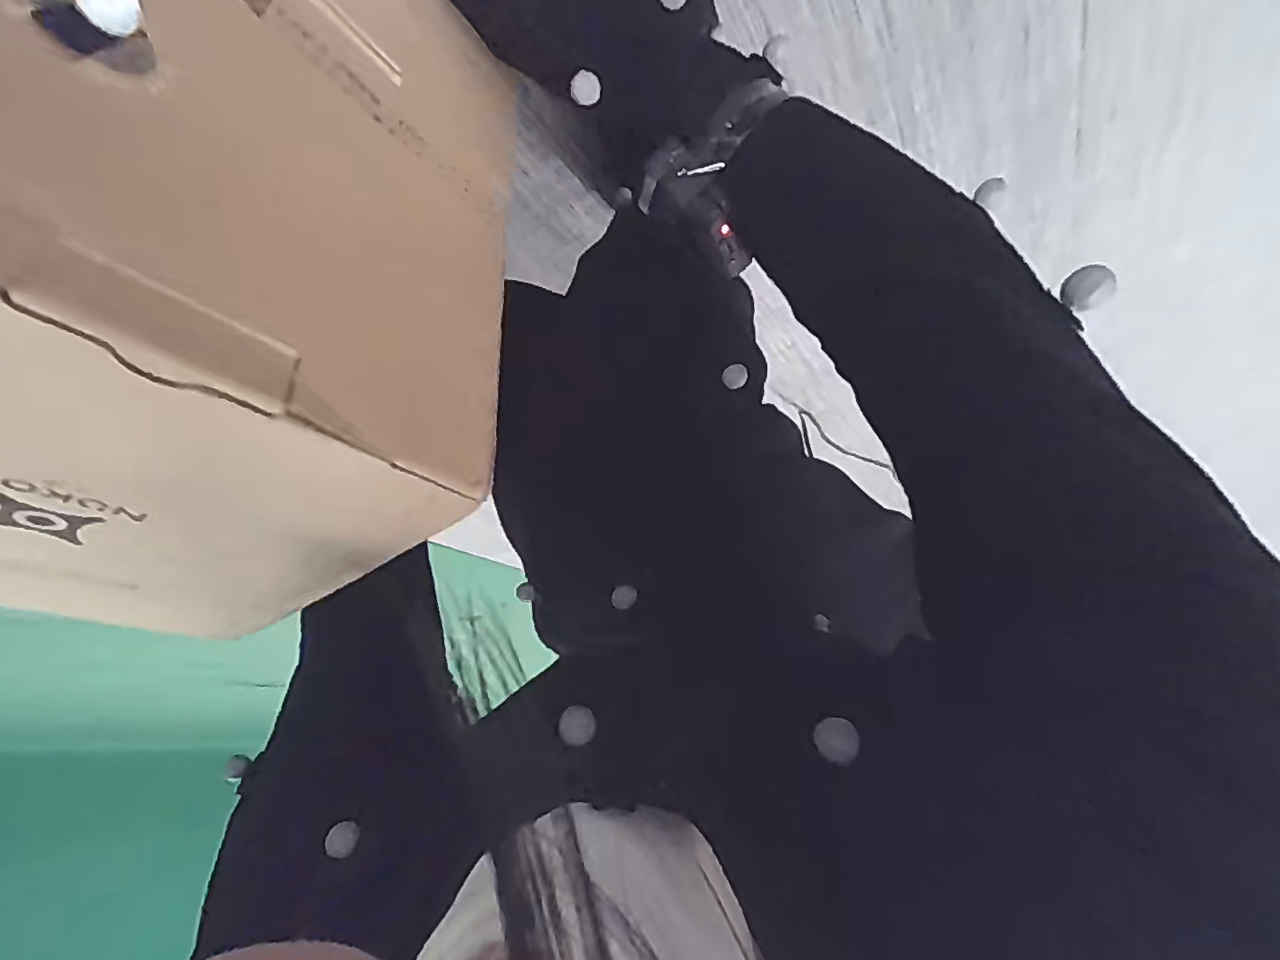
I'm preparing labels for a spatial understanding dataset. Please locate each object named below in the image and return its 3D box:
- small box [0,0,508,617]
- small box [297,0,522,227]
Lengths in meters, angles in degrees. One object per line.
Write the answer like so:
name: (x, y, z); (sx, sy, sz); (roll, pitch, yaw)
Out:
small box: (-0.167, -0.065, 0.198); (0.179, 0.176, 0.168); (-24, 144, 30)
small box: (-0.181, -0.198, 0.286); (0.179, 0.176, 0.168); (-26, 142, 29)
